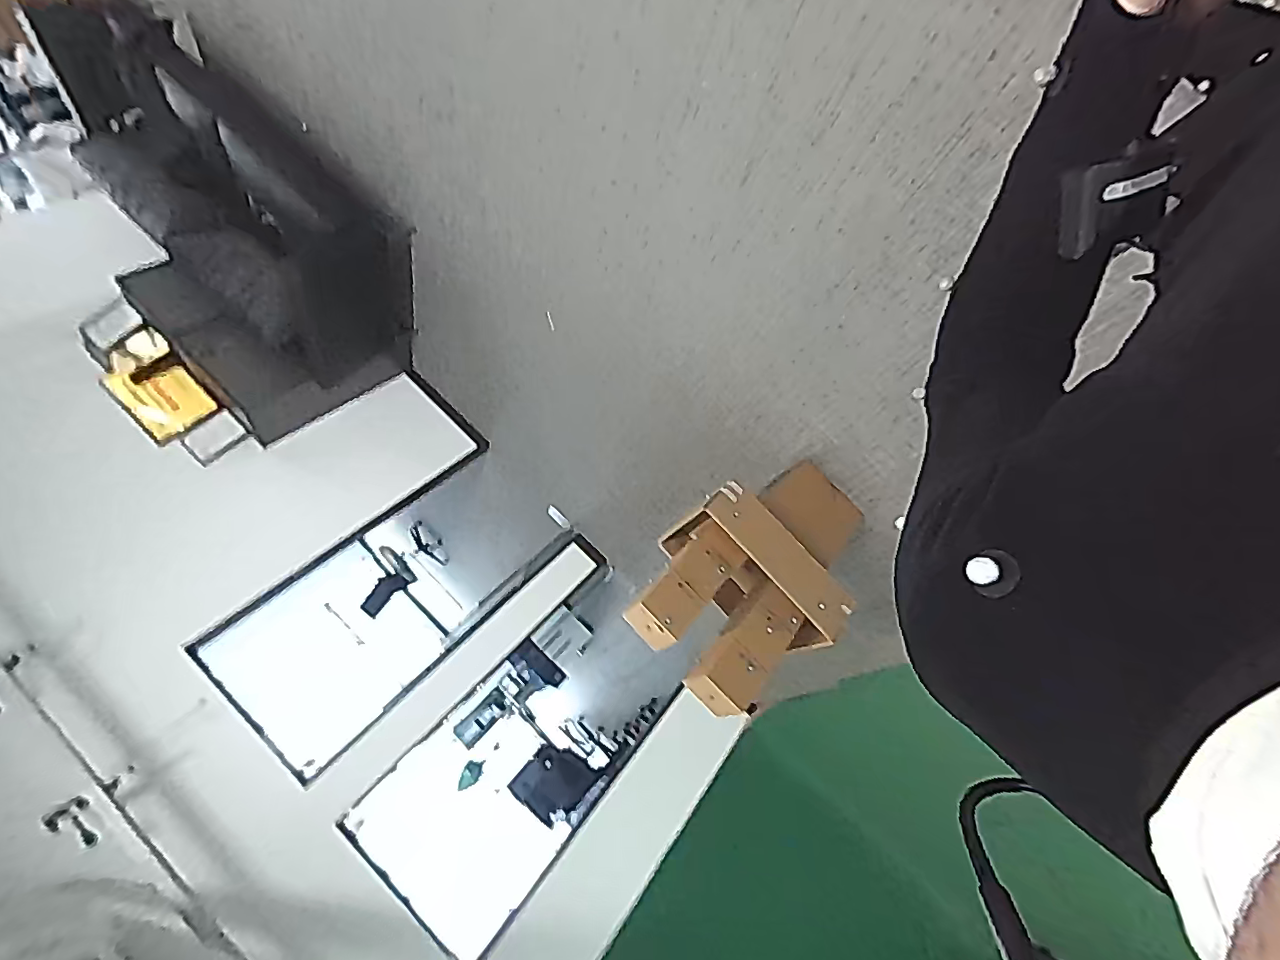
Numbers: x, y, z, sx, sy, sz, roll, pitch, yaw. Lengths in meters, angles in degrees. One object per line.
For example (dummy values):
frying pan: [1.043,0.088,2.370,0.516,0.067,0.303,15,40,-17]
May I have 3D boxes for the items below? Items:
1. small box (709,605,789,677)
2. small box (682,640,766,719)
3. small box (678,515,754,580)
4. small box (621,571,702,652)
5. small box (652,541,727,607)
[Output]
small box: [0.372,0.553,1.830,0.168,0.176,0.179,45,146,4]
small box: [0.271,0.642,1.738,0.168,0.176,0.179,45,147,3]
small box: [0.276,0.254,1.937,0.168,0.176,0.179,48,145,1]
small box: [0.072,0.425,1.744,0.168,0.176,0.179,45,146,4]
small box: [0.171,0.336,1.840,0.168,0.176,0.179,45,146,5]
